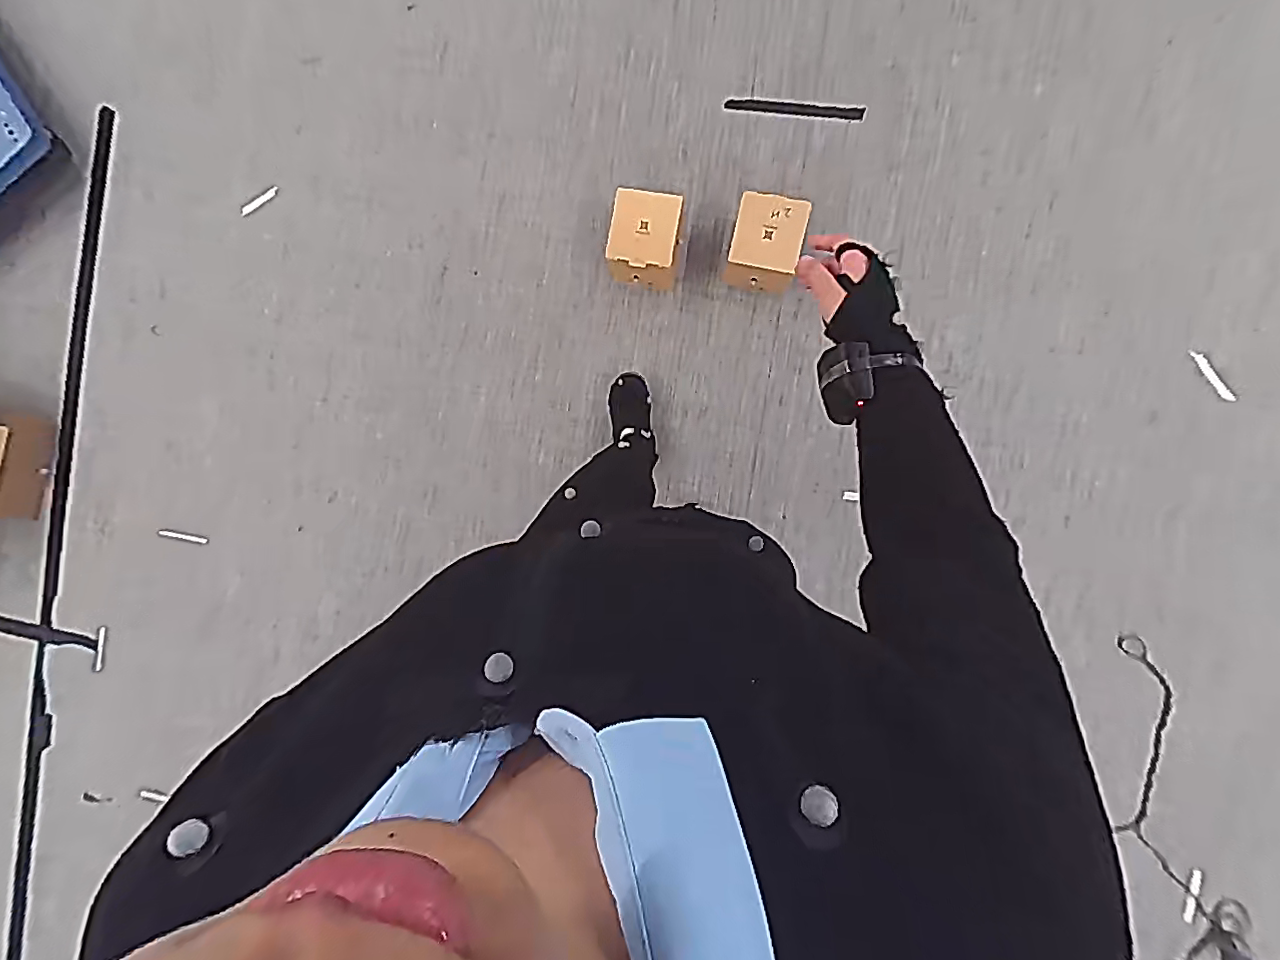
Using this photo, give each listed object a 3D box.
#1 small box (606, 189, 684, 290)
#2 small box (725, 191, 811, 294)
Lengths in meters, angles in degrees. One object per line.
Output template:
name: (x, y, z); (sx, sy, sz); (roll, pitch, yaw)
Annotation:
small box: (0.018, -0.611, 1.391); (0.168, 0.176, 0.179); (10, 93, 5)
small box: (0.314, -0.588, 1.362); (0.168, 0.176, 0.179); (13, 92, 4)
